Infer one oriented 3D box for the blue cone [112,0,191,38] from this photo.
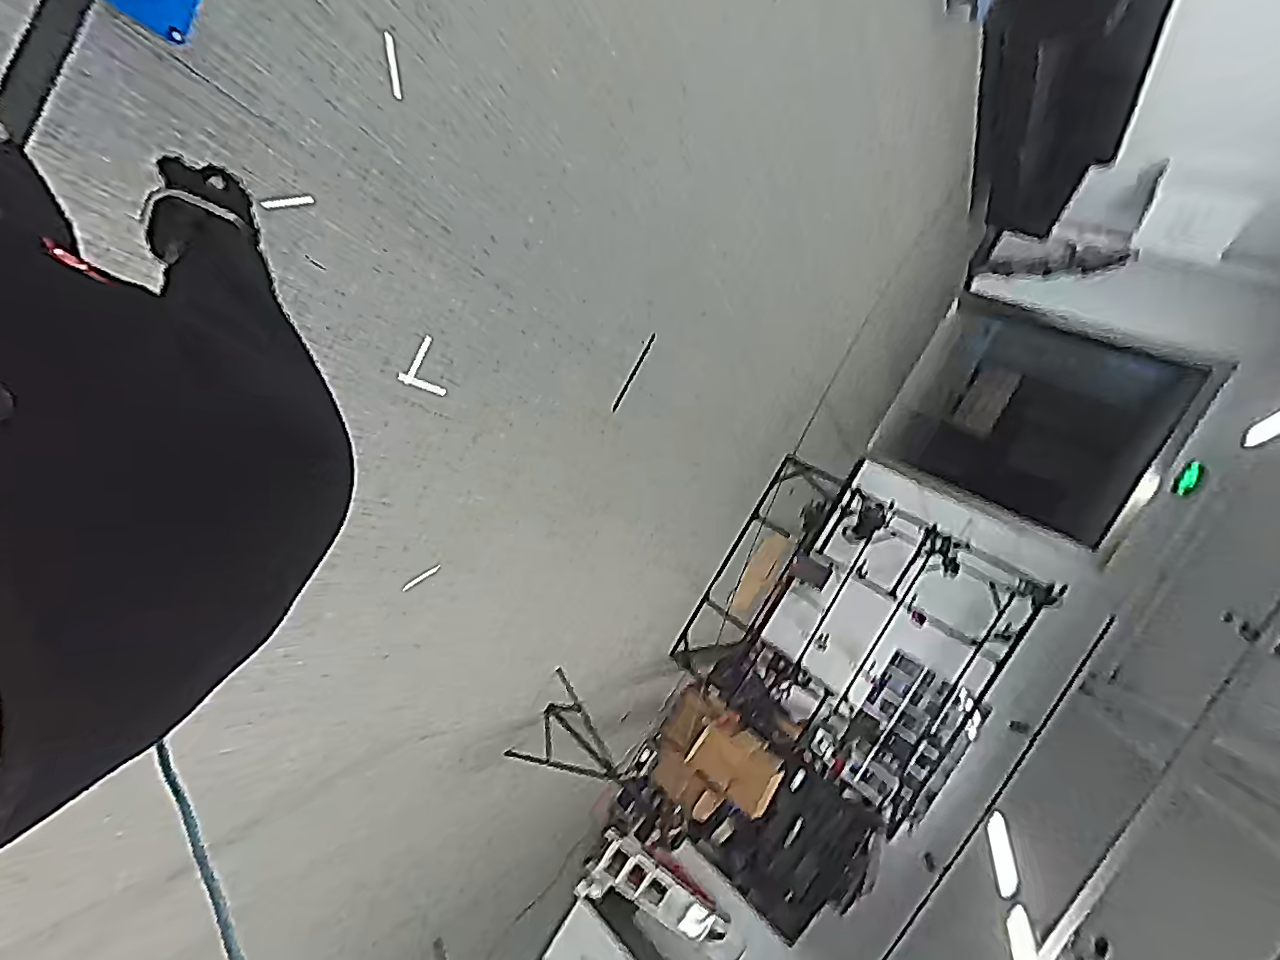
[{"bbox_3d":[-0.721,-0.811,0.812,0.192,0.380,0.193,16,104,-60],"label":"blue cone"}]
